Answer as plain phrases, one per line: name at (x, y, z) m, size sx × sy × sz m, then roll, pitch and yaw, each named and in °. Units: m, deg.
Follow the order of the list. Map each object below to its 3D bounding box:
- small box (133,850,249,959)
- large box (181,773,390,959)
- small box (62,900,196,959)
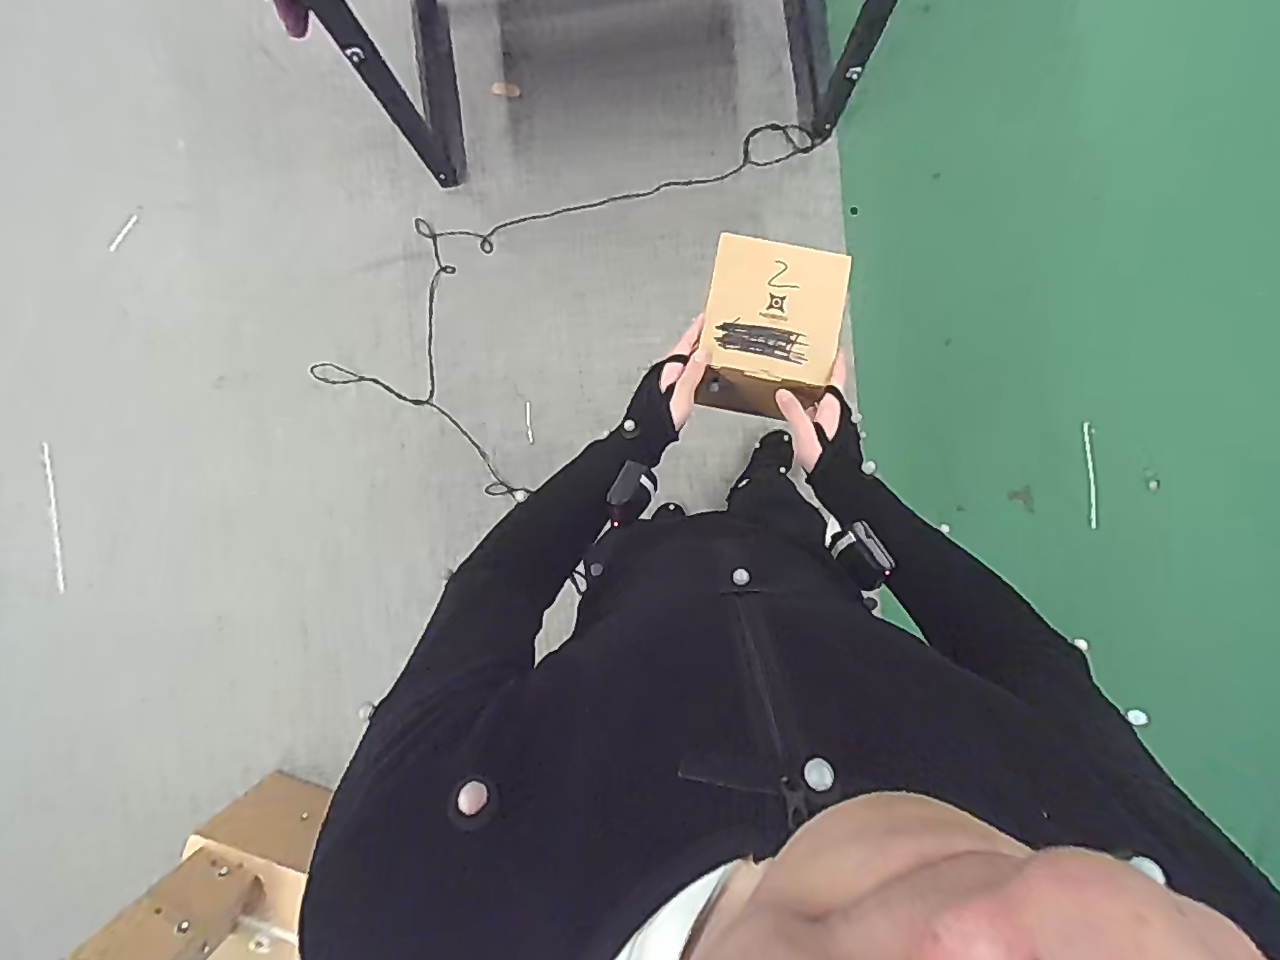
small box at (-1.078, 1.034, 1.275) m, size 0.168 × 0.176 × 0.179 m, roll 25°, pitch 89°, yaw 0°
large box at (-1.002, 1.099, 1.519) m, size 0.408 × 0.320 × 0.320 m, roll 18°, pitch 91°, yaw 0°
small box at (-1.075, 1.028, 1.112) m, size 0.168 × 0.176 × 0.179 m, roll 25°, pitch 90°, yaw 0°
